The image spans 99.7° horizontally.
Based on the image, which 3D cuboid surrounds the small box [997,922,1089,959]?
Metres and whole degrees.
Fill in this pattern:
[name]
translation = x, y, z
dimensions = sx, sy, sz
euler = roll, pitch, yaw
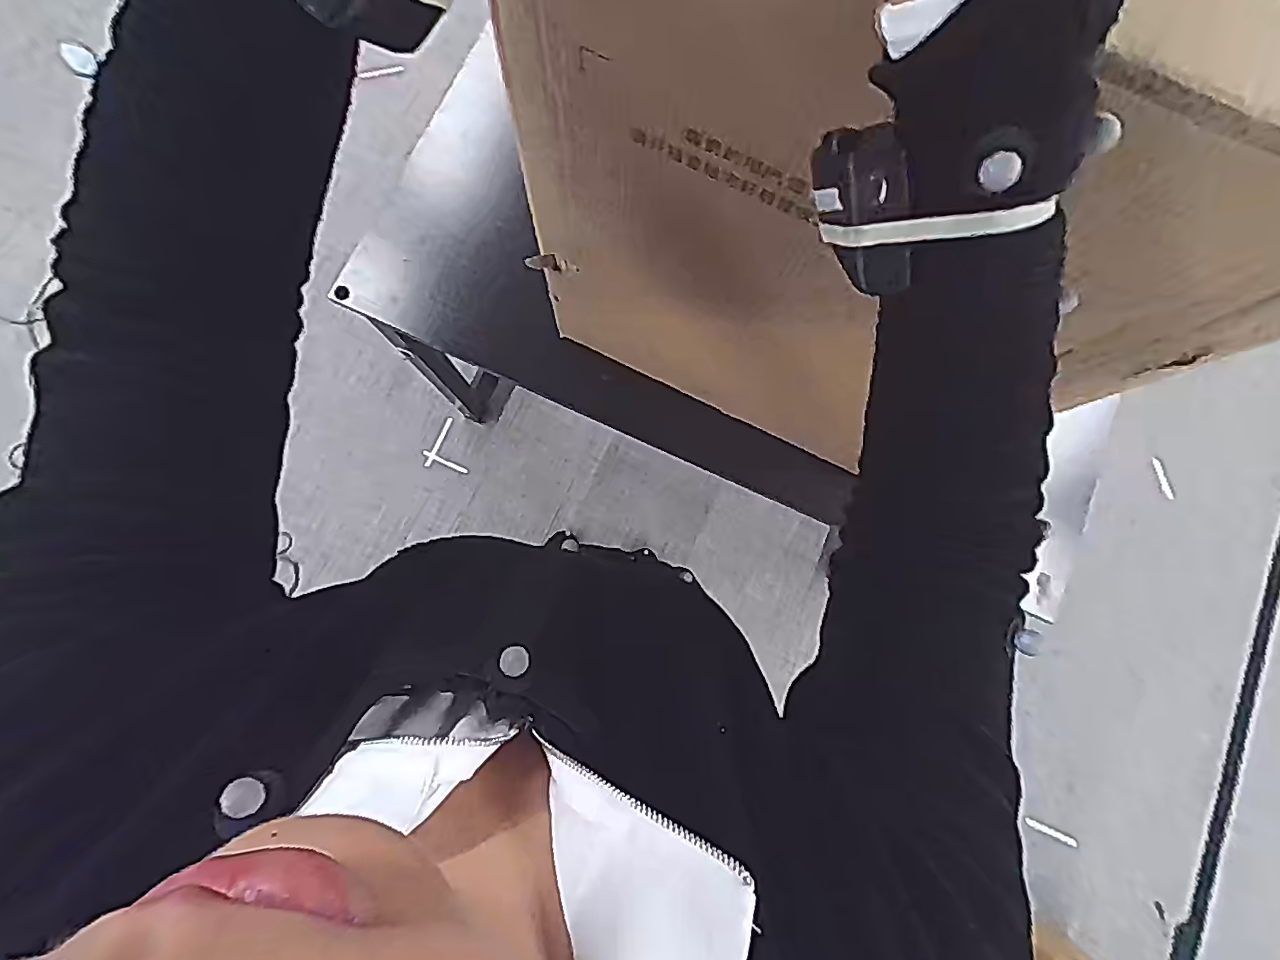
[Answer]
[small box]
translation = 1.031, 1.254, 1.343
dimensions = 0.179, 0.176, 0.168
euler = 19, 80, 1
